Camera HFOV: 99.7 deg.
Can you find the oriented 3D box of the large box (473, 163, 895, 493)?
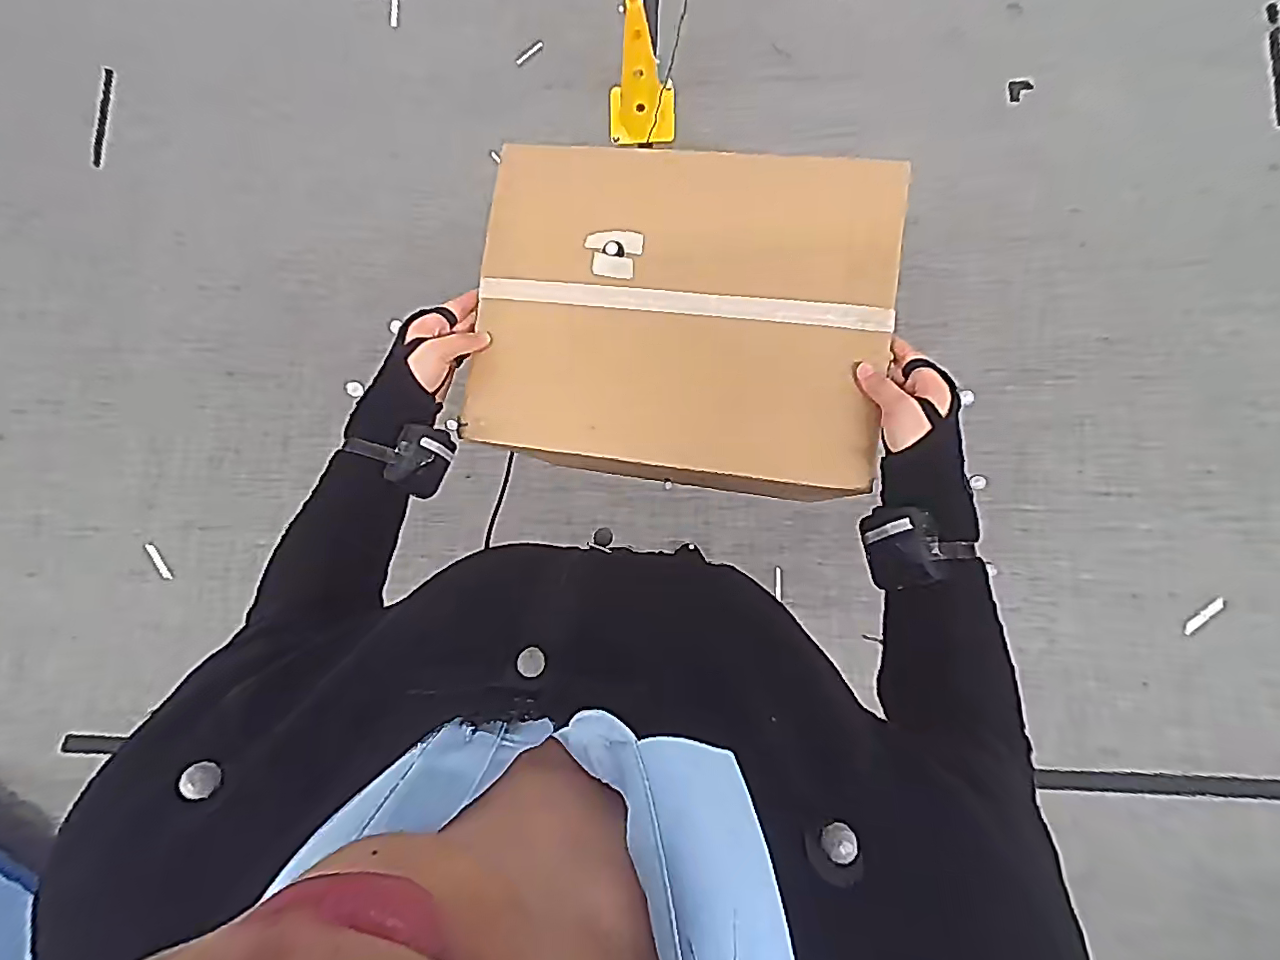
[{"bbox_3d":[0.060,-0.159,0.687,0.408,0.320,0.320,7,86,9],"label":"large box"}]
